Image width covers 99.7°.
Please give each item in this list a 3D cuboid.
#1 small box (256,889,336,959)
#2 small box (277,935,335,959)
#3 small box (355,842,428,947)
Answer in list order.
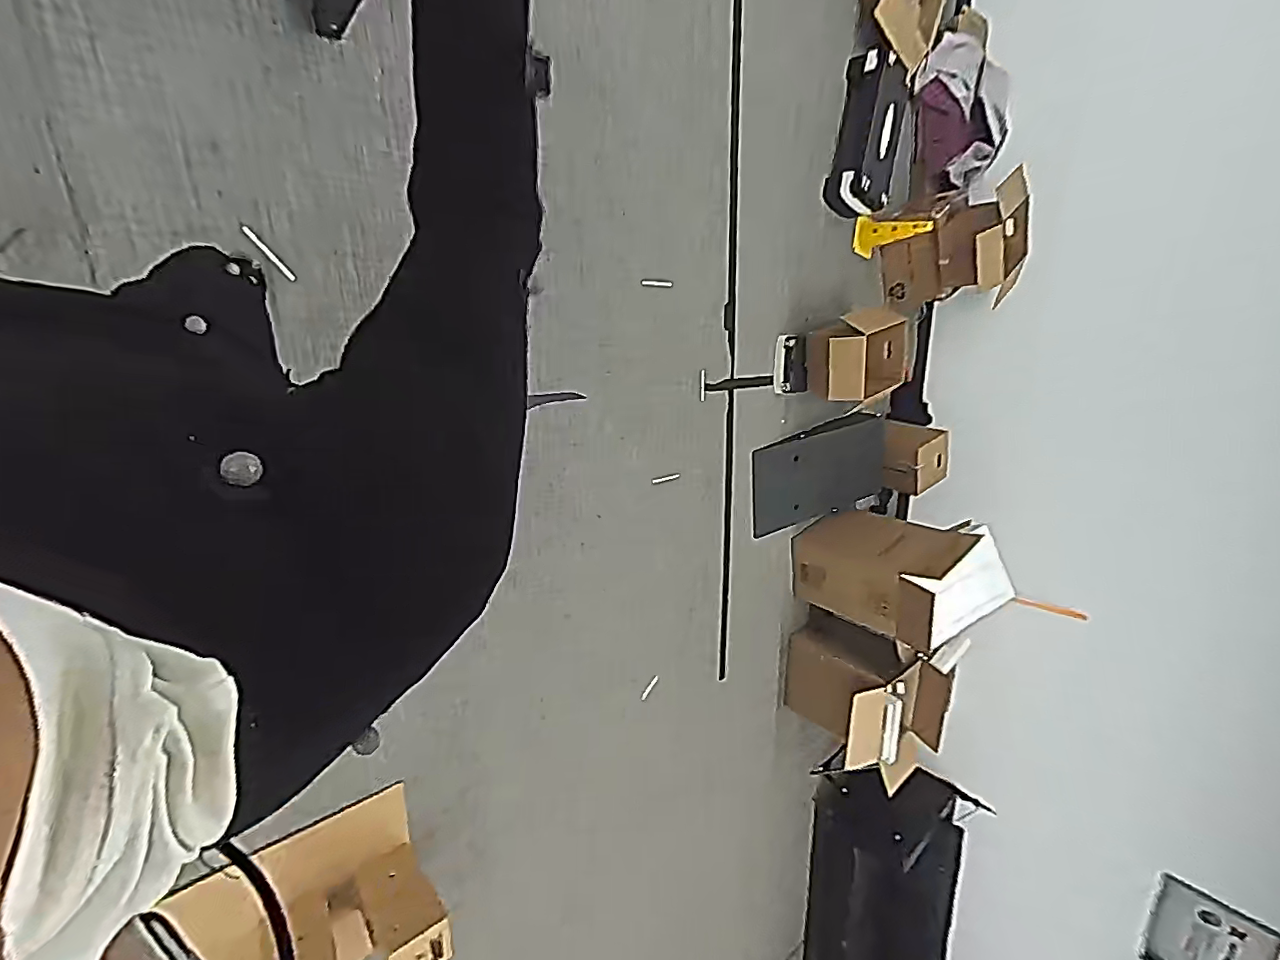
[{"bbox_3d":[-1.023,1.384,1.605,0.179,0.176,0.168,-10,108,-40],"label":"small box"},{"bbox_3d":[-0.922,1.420,1.479,0.168,0.176,0.179,-10,107,-40],"label":"small box"},{"bbox_3d":[-0.821,1.350,1.774,0.179,0.176,0.168,-13,110,-40],"label":"small box"}]
